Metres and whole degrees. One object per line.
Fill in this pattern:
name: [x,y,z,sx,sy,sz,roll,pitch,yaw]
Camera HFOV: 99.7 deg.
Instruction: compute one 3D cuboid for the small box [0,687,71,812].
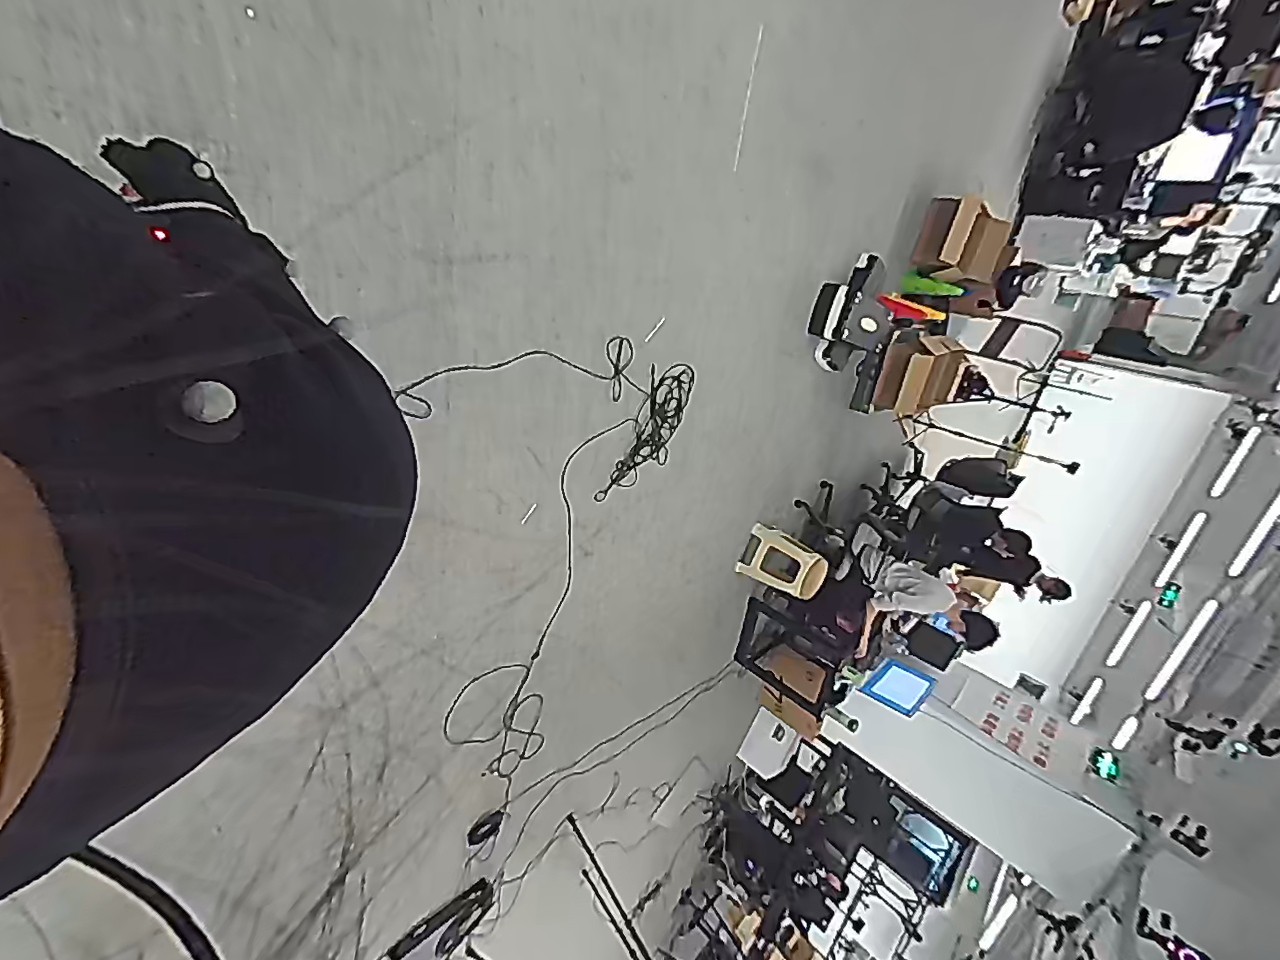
small box: [-1.335,0.564,1.131,0.168,0.176,0.179,-15,124,-44]
